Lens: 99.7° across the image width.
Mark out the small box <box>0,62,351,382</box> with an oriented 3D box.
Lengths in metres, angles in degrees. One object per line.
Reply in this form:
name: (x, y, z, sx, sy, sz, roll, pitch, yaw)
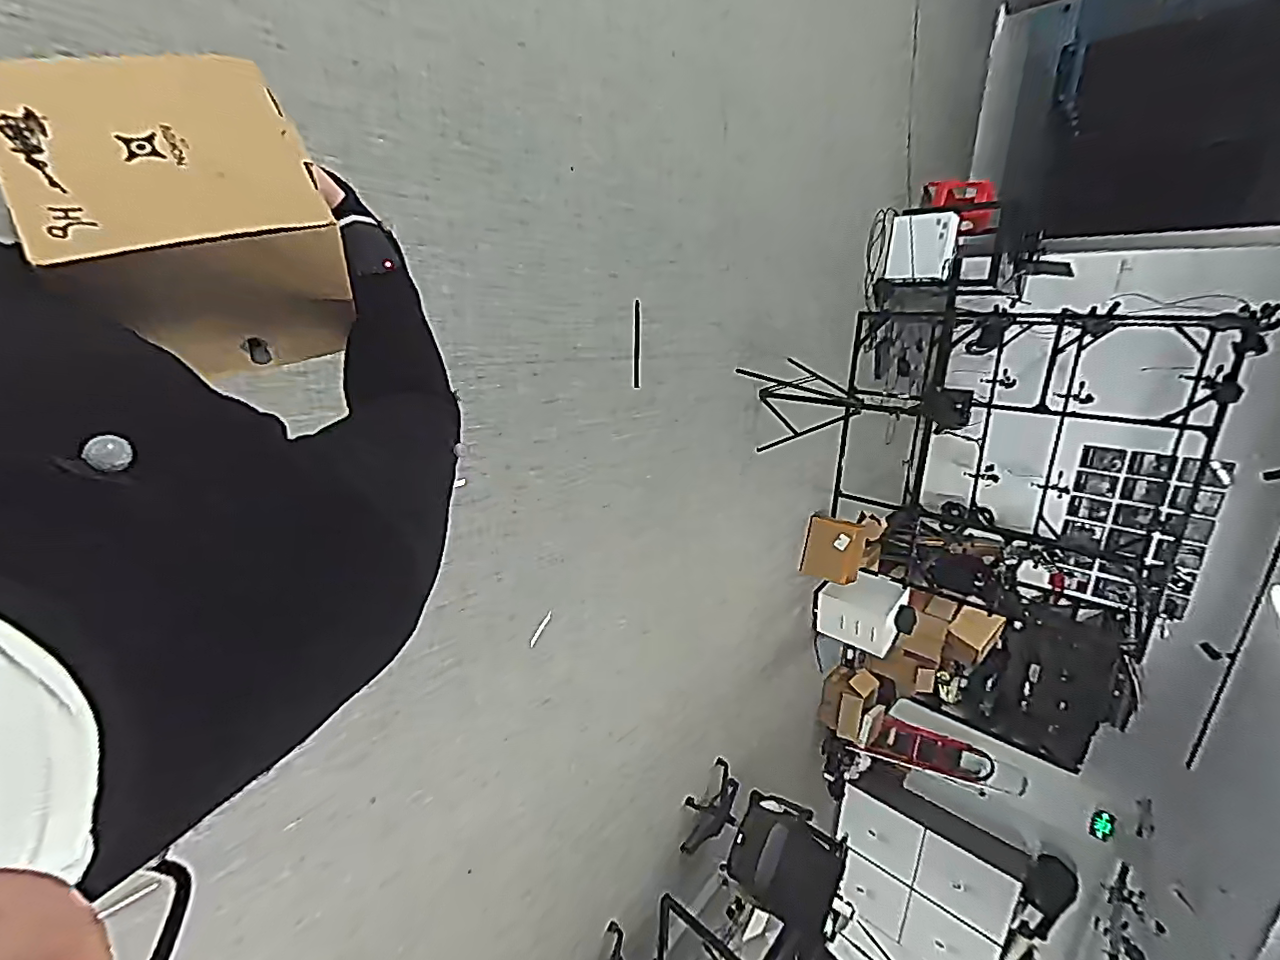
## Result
small box: (-0.367, -0.210, 0.462, 0.179, 0.176, 0.168, -24, 80, -28)
